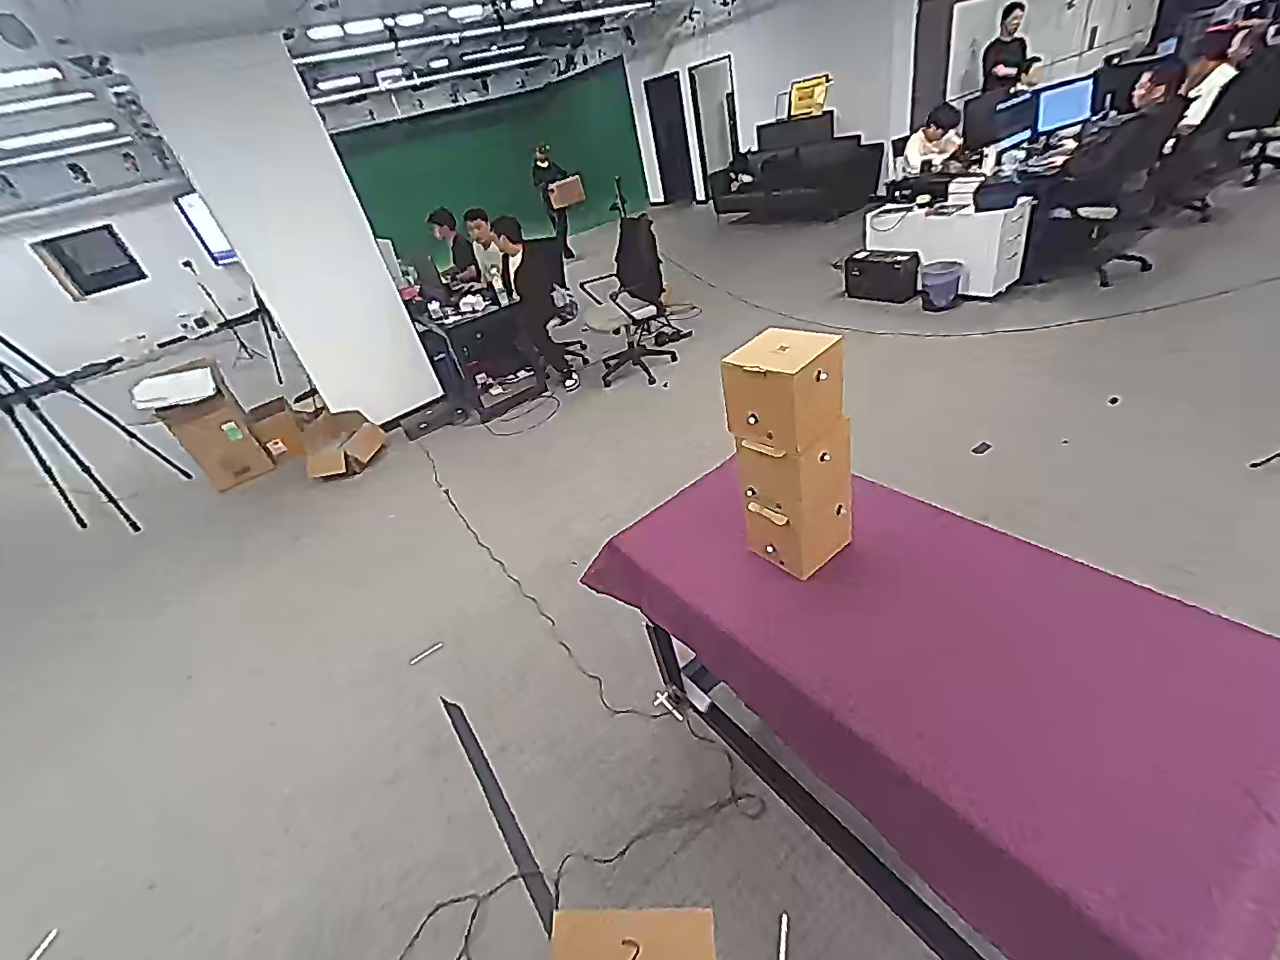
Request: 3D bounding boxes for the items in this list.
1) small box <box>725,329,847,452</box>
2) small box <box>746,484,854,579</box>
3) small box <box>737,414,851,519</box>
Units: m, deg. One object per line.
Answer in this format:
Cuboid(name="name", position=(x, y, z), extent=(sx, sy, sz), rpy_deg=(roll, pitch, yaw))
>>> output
Cuboid(name="small box", position=(0.291, -0.181, 1.078), extent=(0.179, 0.176, 0.168), rpy_deg=(-37, 40, -30))
Cuboid(name="small box", position=(0.367, 0.091, 1.244), extent=(0.179, 0.176, 0.168), rpy_deg=(-31, 37, -23))
Cuboid(name="small box", position=(0.333, -0.043, 1.155), extent=(0.179, 0.176, 0.168), rpy_deg=(-33, 38, -27))
